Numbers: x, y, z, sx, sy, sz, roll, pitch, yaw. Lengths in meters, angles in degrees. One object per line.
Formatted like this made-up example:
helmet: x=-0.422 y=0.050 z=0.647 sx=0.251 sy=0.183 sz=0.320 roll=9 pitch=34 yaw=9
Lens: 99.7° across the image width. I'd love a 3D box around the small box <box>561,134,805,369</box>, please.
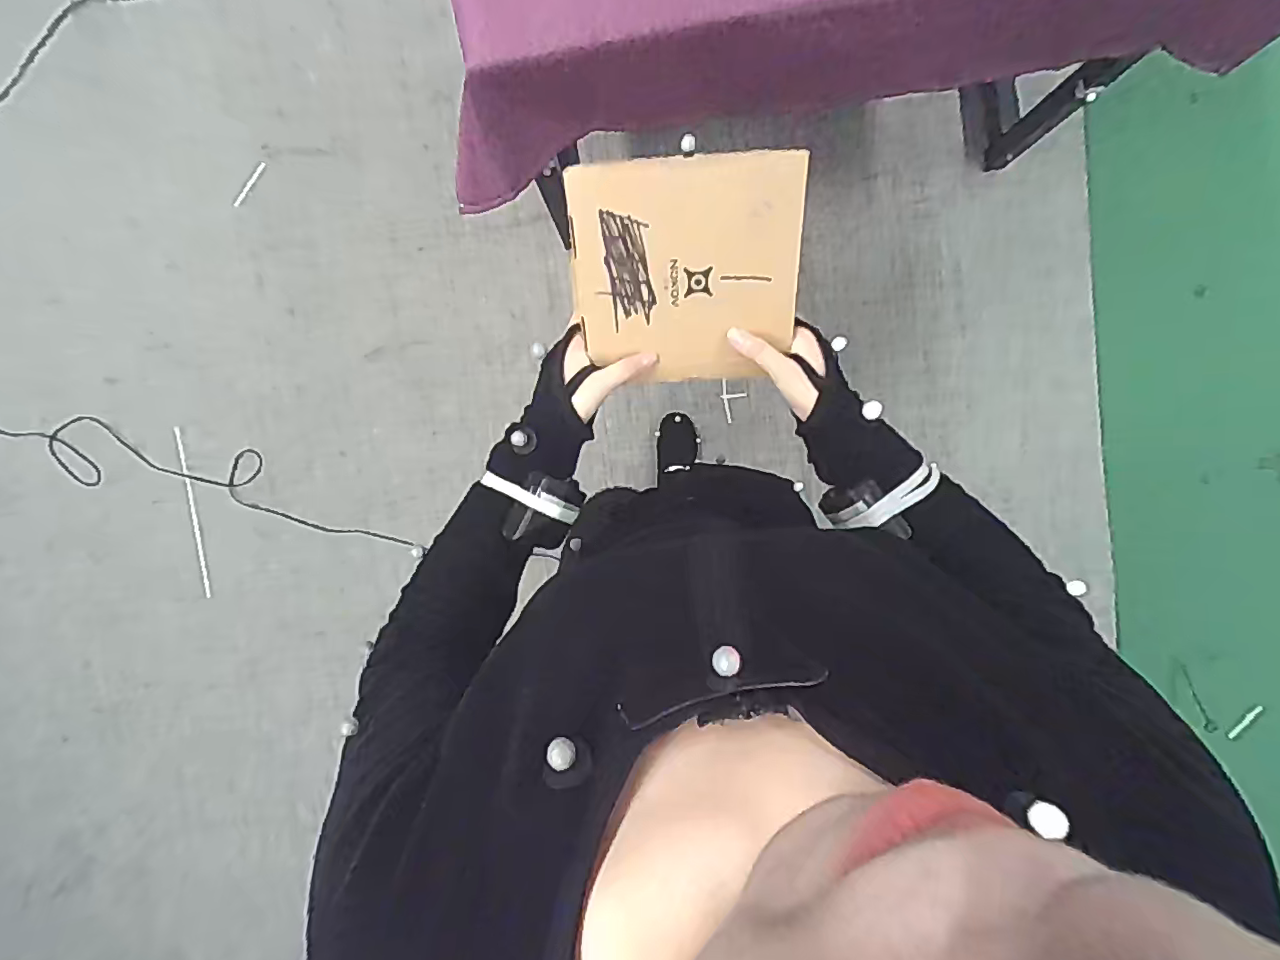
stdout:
small box: x=0.035 y=-0.209 z=0.491 sx=0.179 sy=0.176 sz=0.168 roll=-3 pitch=122 yaw=1
